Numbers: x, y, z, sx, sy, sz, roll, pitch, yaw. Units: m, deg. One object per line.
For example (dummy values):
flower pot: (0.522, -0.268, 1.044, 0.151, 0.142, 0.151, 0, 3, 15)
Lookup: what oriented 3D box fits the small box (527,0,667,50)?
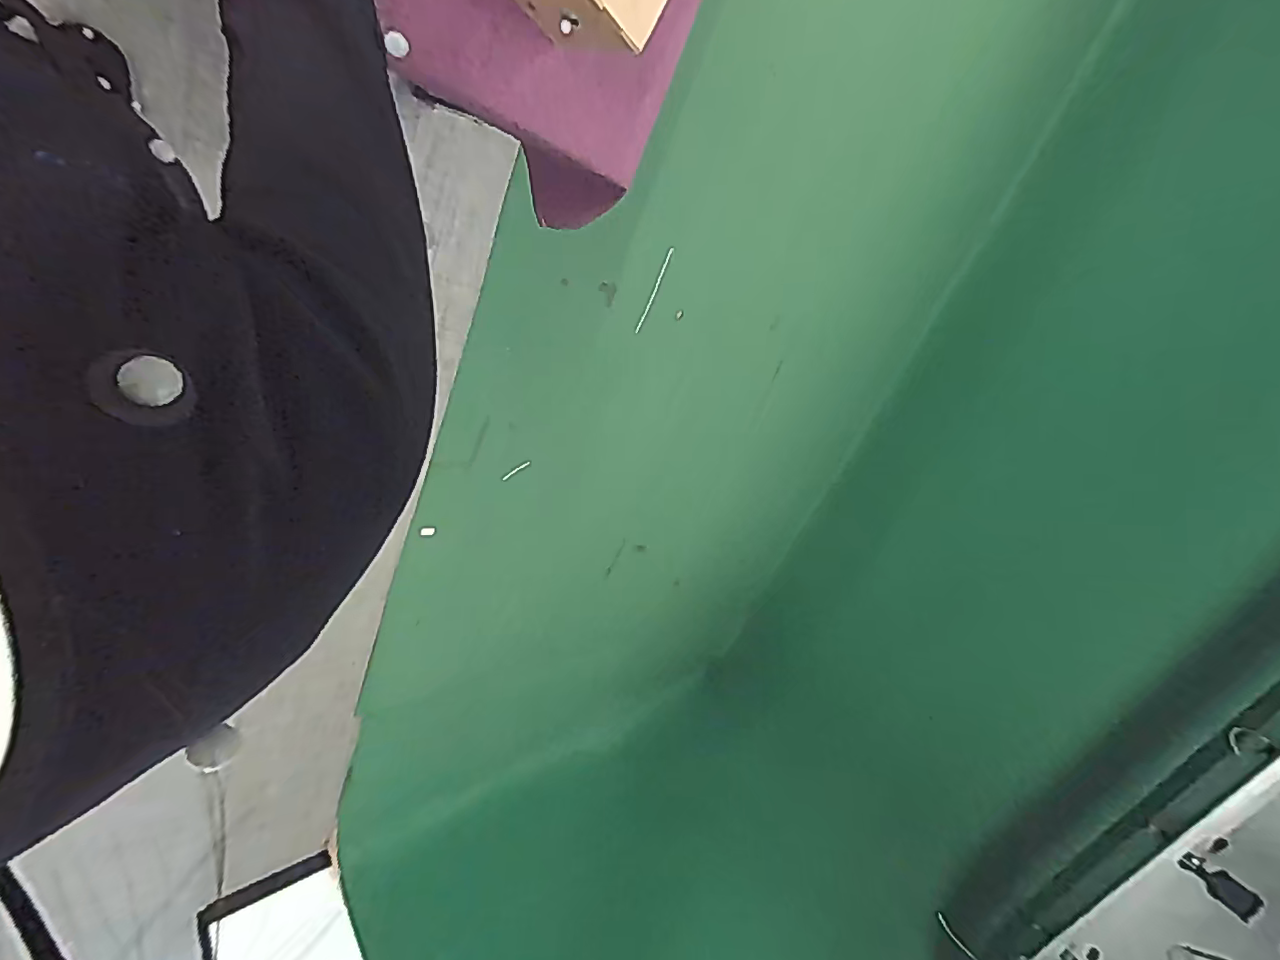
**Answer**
small box: (-0.055, -0.577, 0.534, 0.168, 0.176, 0.179, 14, 111, -52)
